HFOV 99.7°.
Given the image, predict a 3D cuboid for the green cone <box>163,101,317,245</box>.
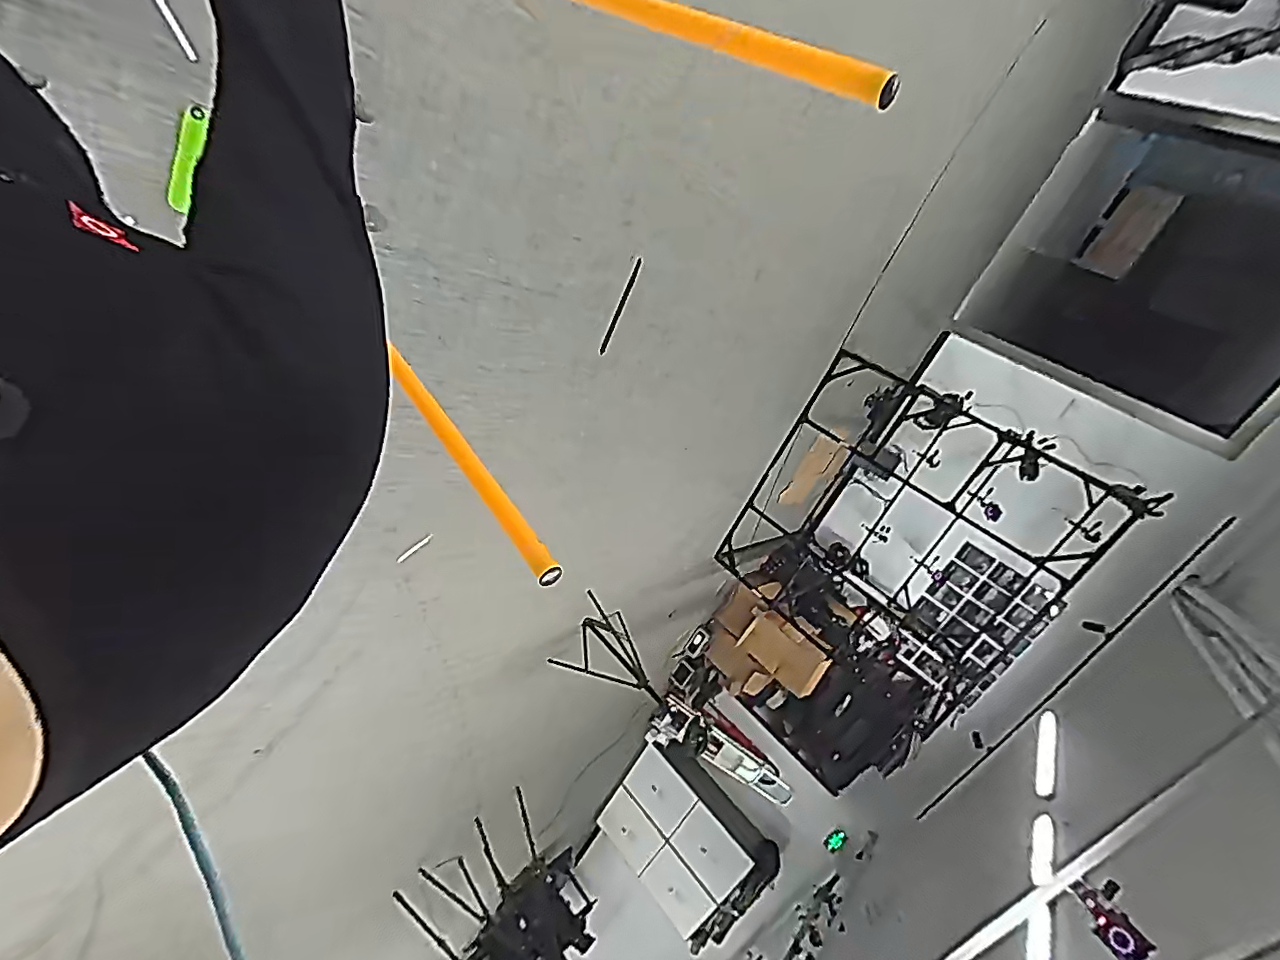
[{"bbox_3d":[-0.717,-0.530,1.027,0.202,0.368,0.200,0,124,-57],"label":"green cone"}]
